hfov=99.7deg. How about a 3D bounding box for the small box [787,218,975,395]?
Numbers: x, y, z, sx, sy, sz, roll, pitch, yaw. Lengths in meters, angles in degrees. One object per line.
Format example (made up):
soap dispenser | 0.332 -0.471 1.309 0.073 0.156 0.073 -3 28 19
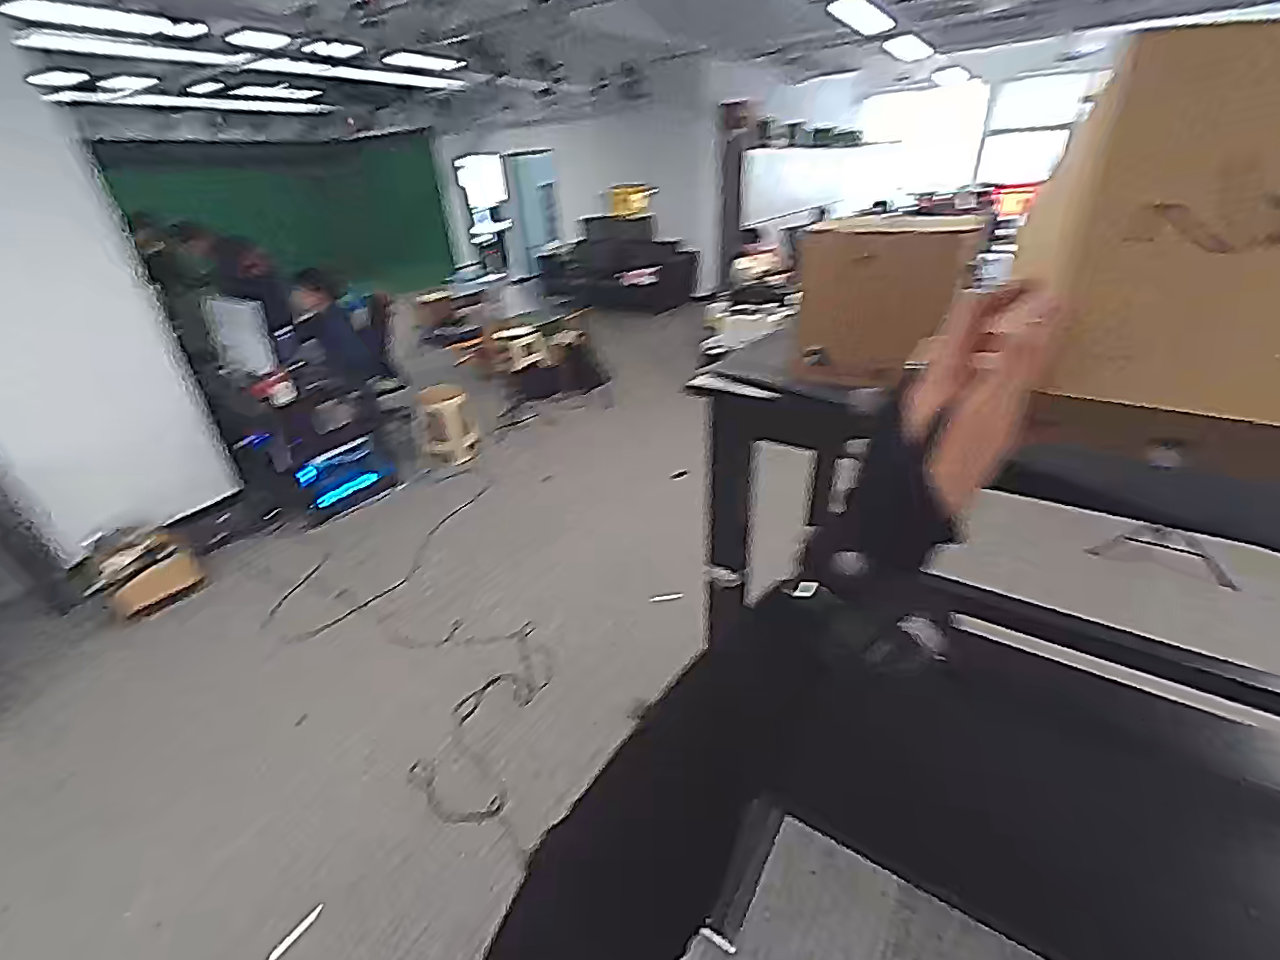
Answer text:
small box | 0.282 -0.211 0.646 0.168 0.176 0.179 15 34 28
